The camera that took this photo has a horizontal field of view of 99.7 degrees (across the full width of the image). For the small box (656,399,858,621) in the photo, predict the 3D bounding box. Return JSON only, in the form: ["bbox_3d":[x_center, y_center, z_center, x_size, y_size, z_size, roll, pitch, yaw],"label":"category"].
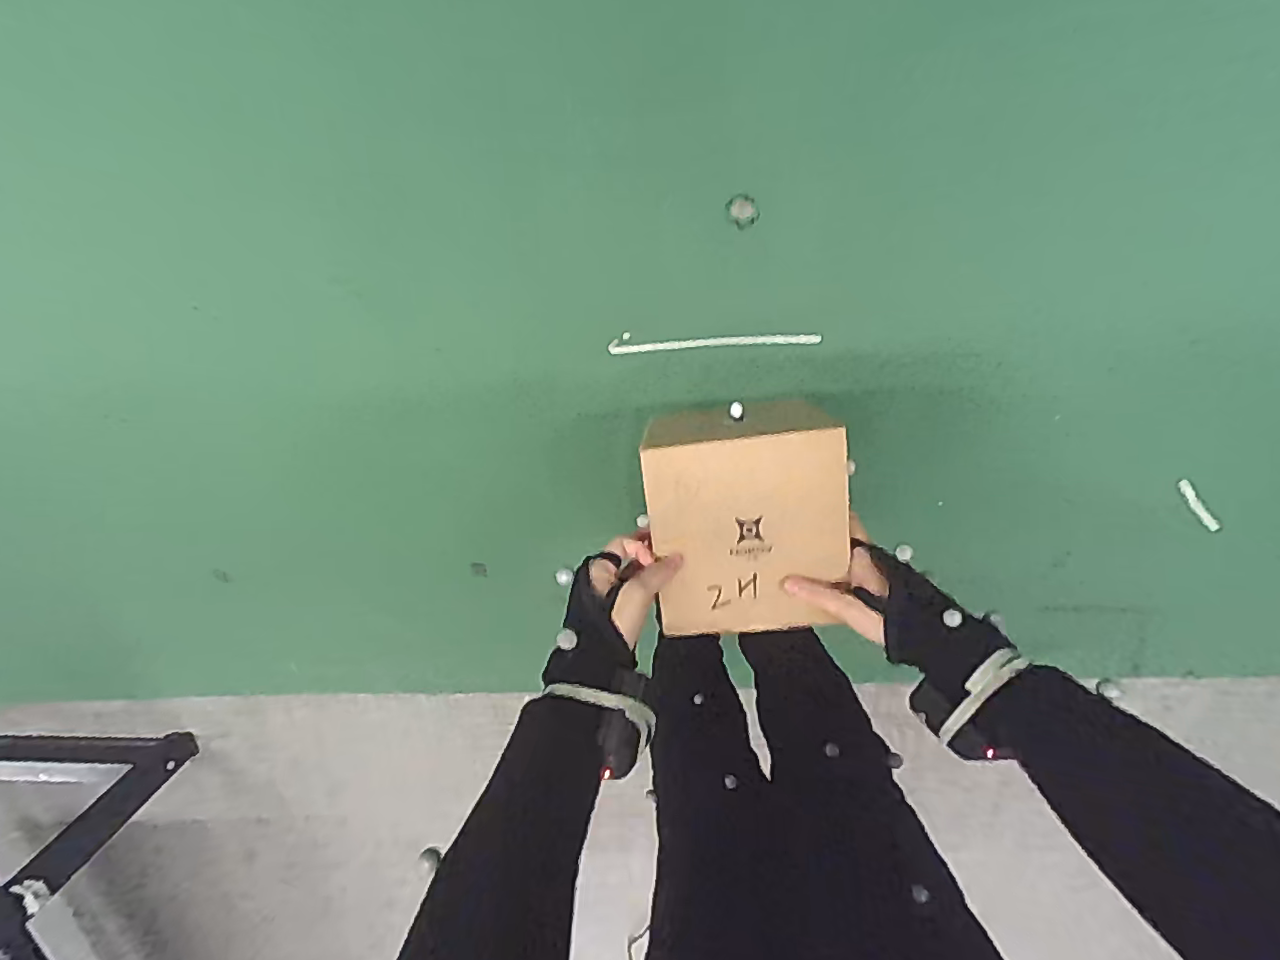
[{"bbox_3d":[0.103,0.017,0.533,0.168,0.176,0.179,-5,105,5],"label":"small box"}]
